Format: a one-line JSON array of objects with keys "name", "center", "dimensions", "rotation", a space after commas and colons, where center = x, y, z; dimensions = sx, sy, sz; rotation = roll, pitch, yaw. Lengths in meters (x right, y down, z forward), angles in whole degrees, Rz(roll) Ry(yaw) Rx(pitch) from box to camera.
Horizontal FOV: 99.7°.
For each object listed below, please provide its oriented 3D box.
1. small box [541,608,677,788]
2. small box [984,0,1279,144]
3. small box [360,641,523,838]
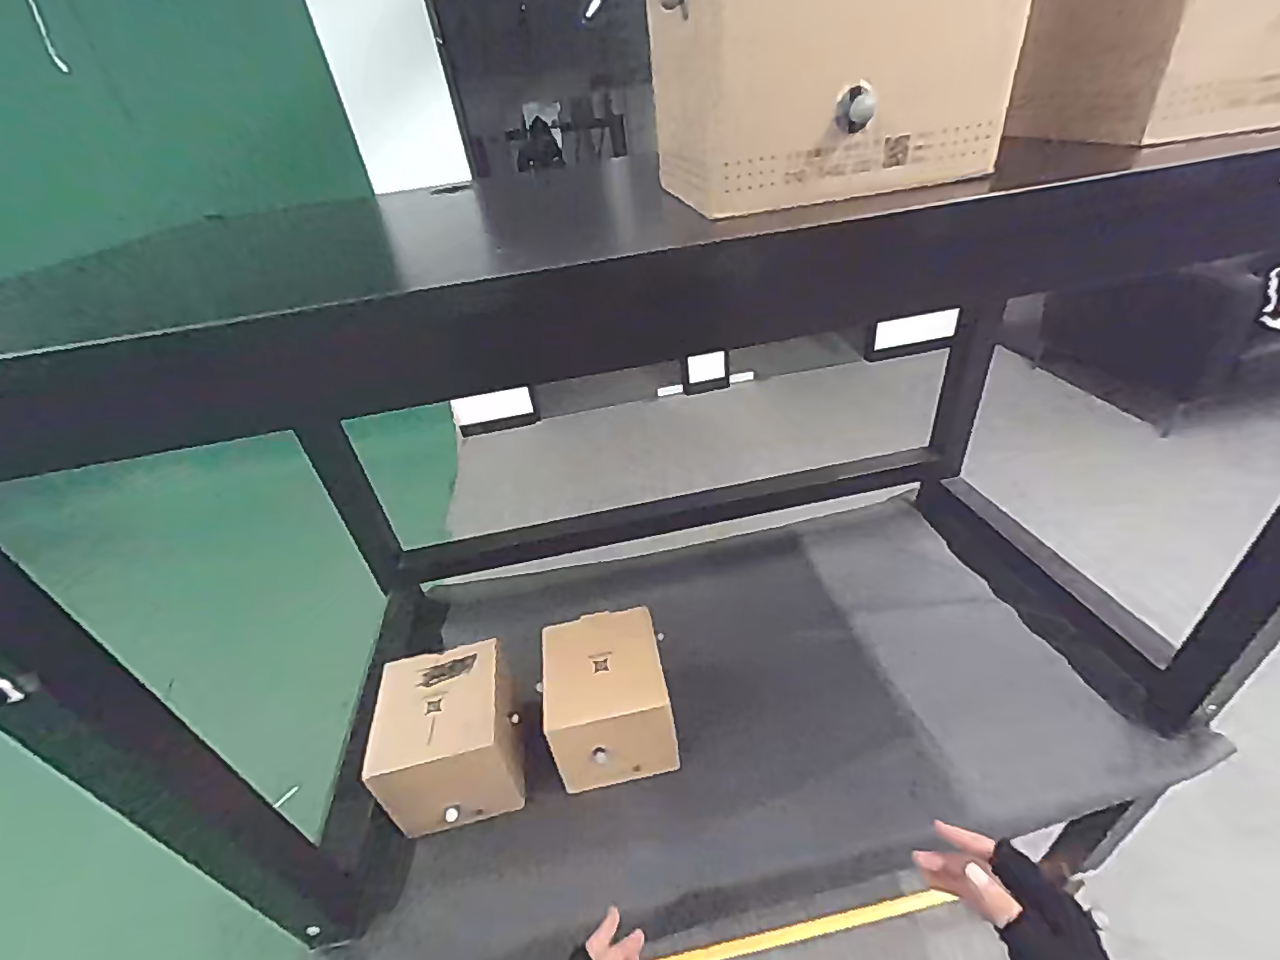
[{"name": "small box", "center": [-0.047, 0.324, 0.798], "dimensions": [0.168, 0.176, 0.179], "rotation": [-11, 33, -4]}, {"name": "small box", "center": [0.364, -0.327, 0.350], "dimensions": [0.168, 0.176, 0.179], "rotation": [-6, 33, 3]}, {"name": "small box", "center": [-0.268, 0.368, 0.776], "dimensions": [0.168, 0.176, 0.179], "rotation": [-12, 34, -6]}]
